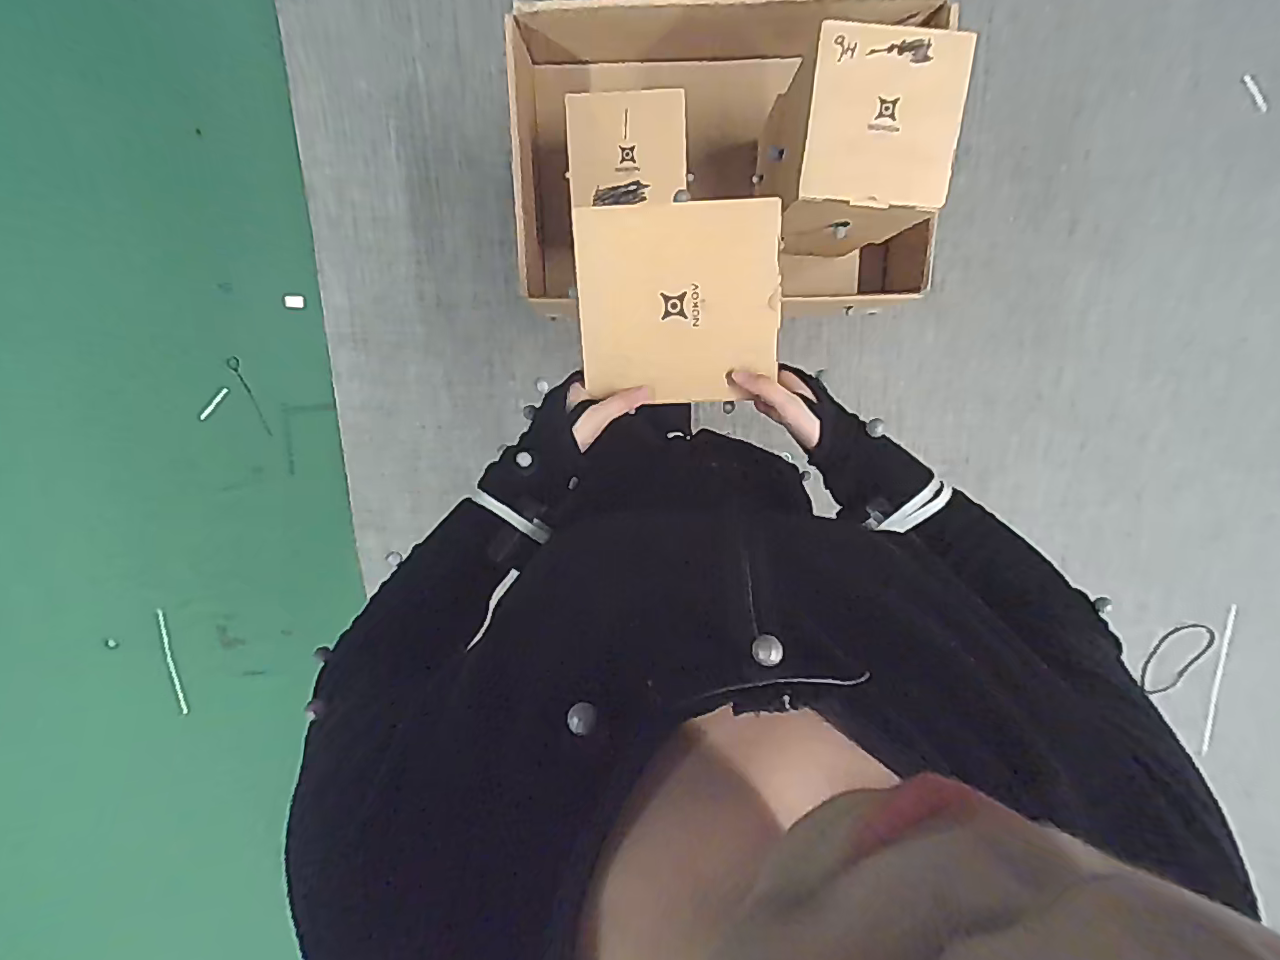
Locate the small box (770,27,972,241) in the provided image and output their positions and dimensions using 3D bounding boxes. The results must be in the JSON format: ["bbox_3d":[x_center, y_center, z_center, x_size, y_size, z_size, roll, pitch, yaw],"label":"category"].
[{"bbox_3d":[0.263,-0.405,0.666,0.168,0.176,0.179,6,104,1],"label":"small box"}]

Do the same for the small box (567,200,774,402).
[{"bbox_3d":[0.029,-0.168,0.546,0.179,0.176,0.168,-3,103,0],"label":"small box"}]
